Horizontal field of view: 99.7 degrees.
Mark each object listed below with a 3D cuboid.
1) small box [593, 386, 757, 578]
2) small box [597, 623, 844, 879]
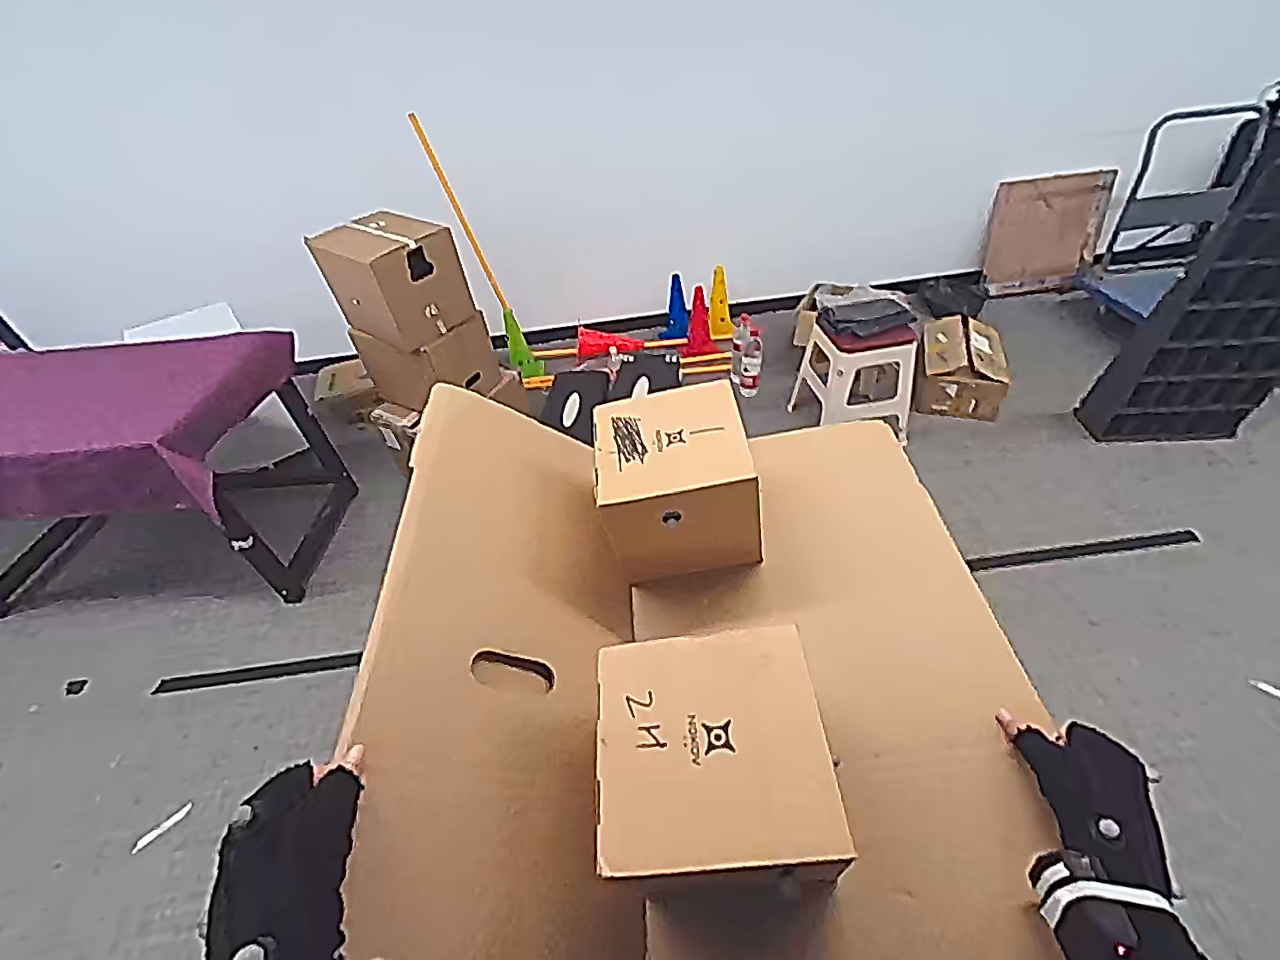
[{"bbox_3d":[0.046,0.009,0.698,0.179,0.176,0.168,-11,48,5],"label":"small box"},{"bbox_3d":[0.067,0.248,0.486,0.179,0.176,0.168,-10,48,8],"label":"small box"}]
